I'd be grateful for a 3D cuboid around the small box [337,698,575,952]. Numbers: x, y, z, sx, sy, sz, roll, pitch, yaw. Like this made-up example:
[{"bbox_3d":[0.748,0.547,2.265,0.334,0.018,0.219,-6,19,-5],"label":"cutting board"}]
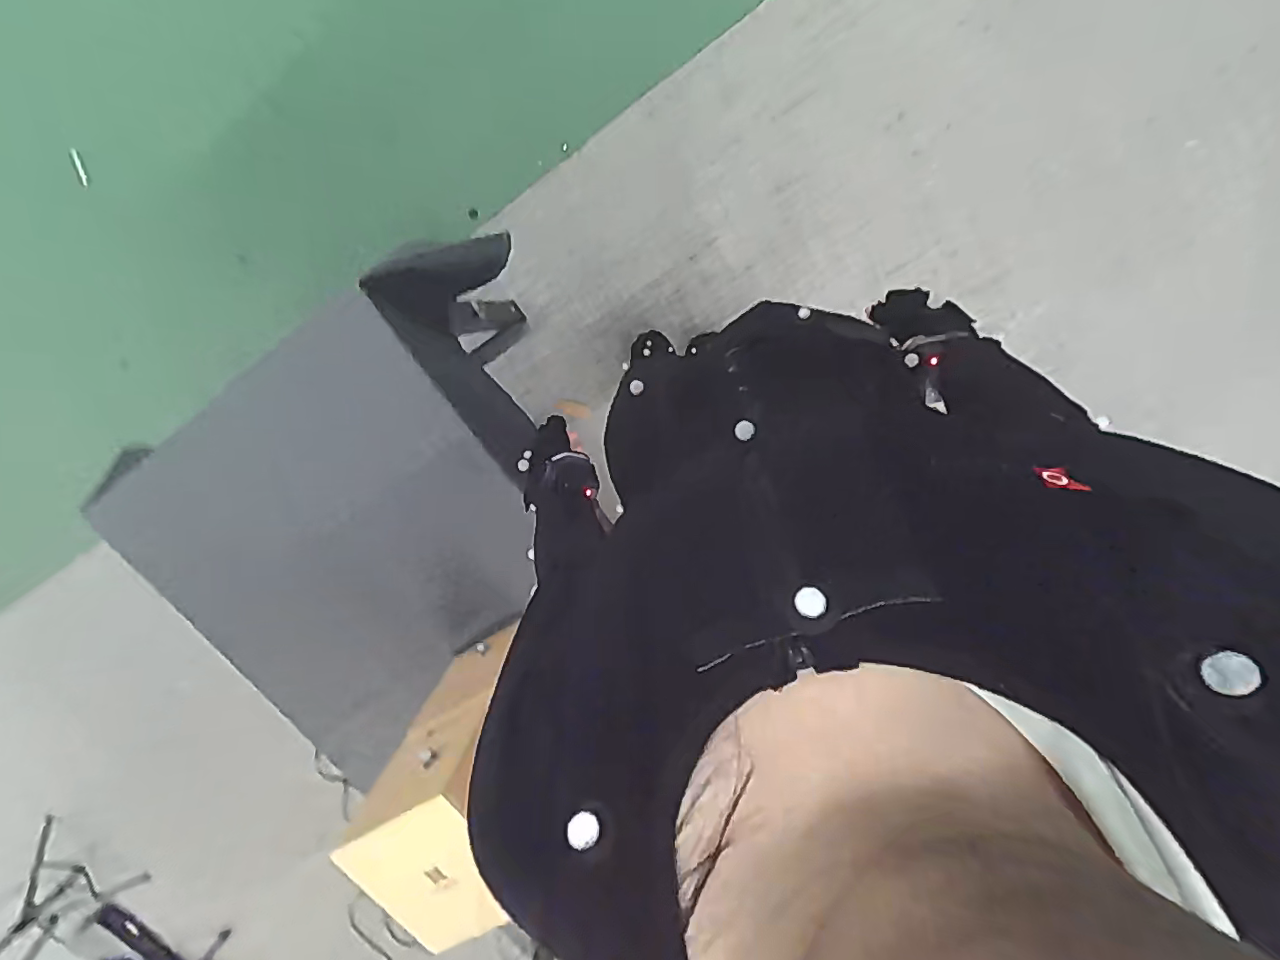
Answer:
[{"bbox_3d":[-0.201,0.391,0.643,0.168,0.176,0.179,-33,102,13],"label":"small box"}]
